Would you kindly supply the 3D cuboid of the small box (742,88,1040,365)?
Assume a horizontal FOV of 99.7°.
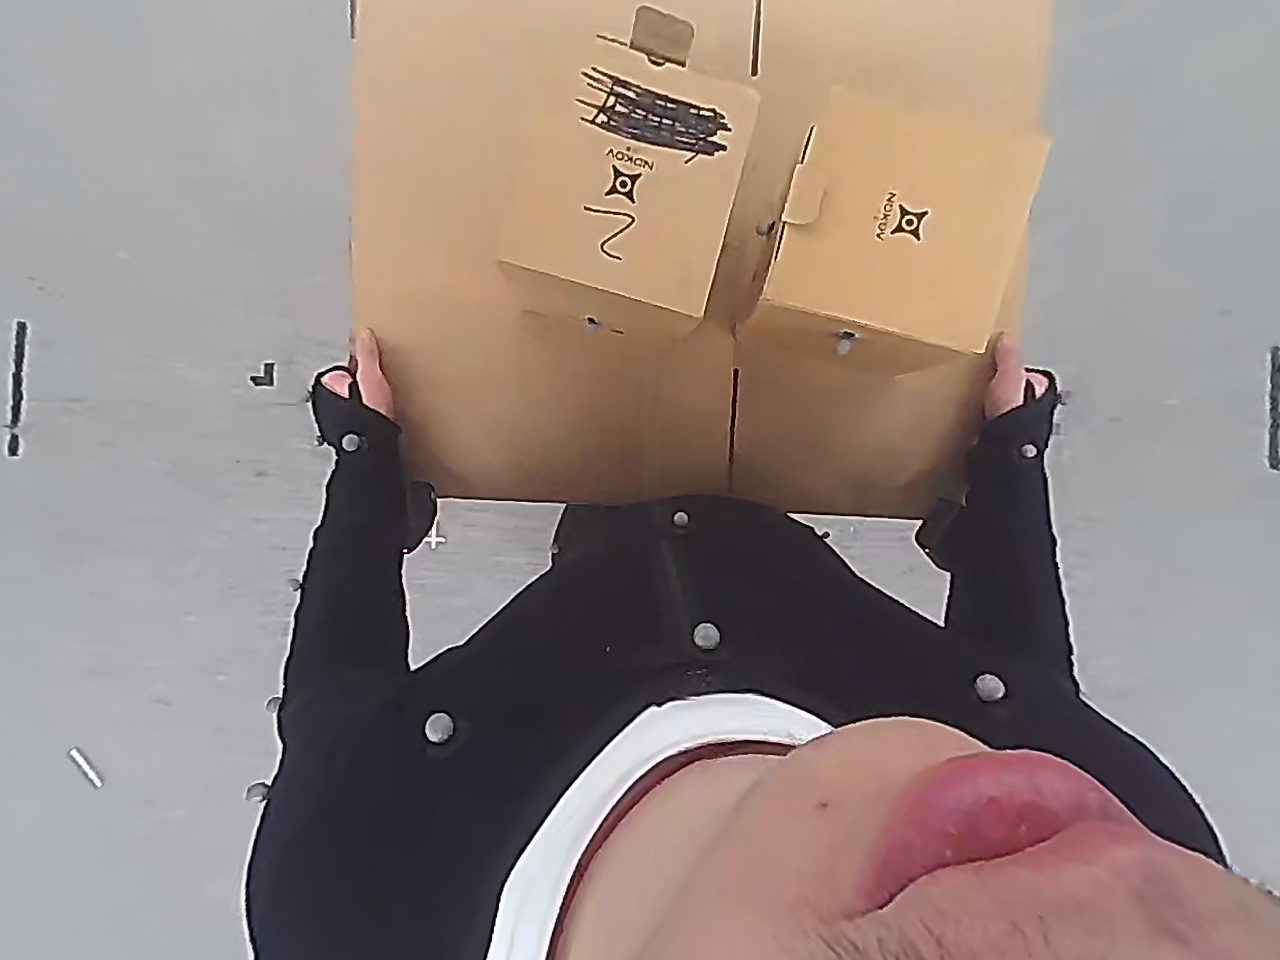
[{"bbox_3d":[0.207,-0.211,0.502,0.179,0.176,0.168,15,95,3],"label":"small box"}]
